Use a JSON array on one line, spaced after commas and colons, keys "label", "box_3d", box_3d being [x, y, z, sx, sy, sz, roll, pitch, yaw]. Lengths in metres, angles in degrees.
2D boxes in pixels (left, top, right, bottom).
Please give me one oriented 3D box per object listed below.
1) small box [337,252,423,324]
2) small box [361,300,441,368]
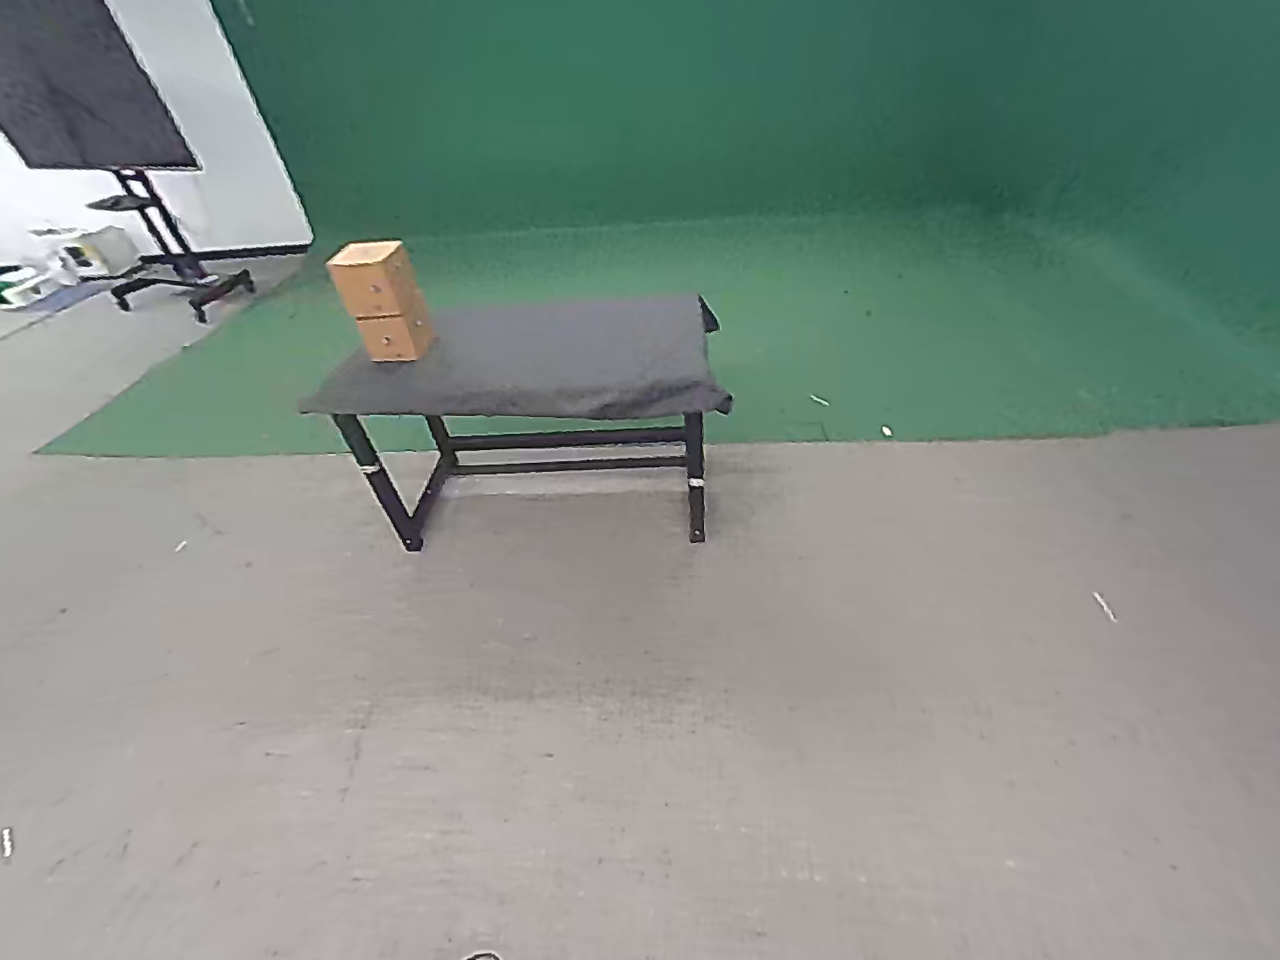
[{"label": "small box", "box_3d": [-0.812, -0.605, 1.715, 0.168, 0.176, 0.179, -1, 40, 4]}, {"label": "small box", "box_3d": [-0.799, -0.491, 1.832, 0.168, 0.176, 0.179, 0, 41, 6]}]
